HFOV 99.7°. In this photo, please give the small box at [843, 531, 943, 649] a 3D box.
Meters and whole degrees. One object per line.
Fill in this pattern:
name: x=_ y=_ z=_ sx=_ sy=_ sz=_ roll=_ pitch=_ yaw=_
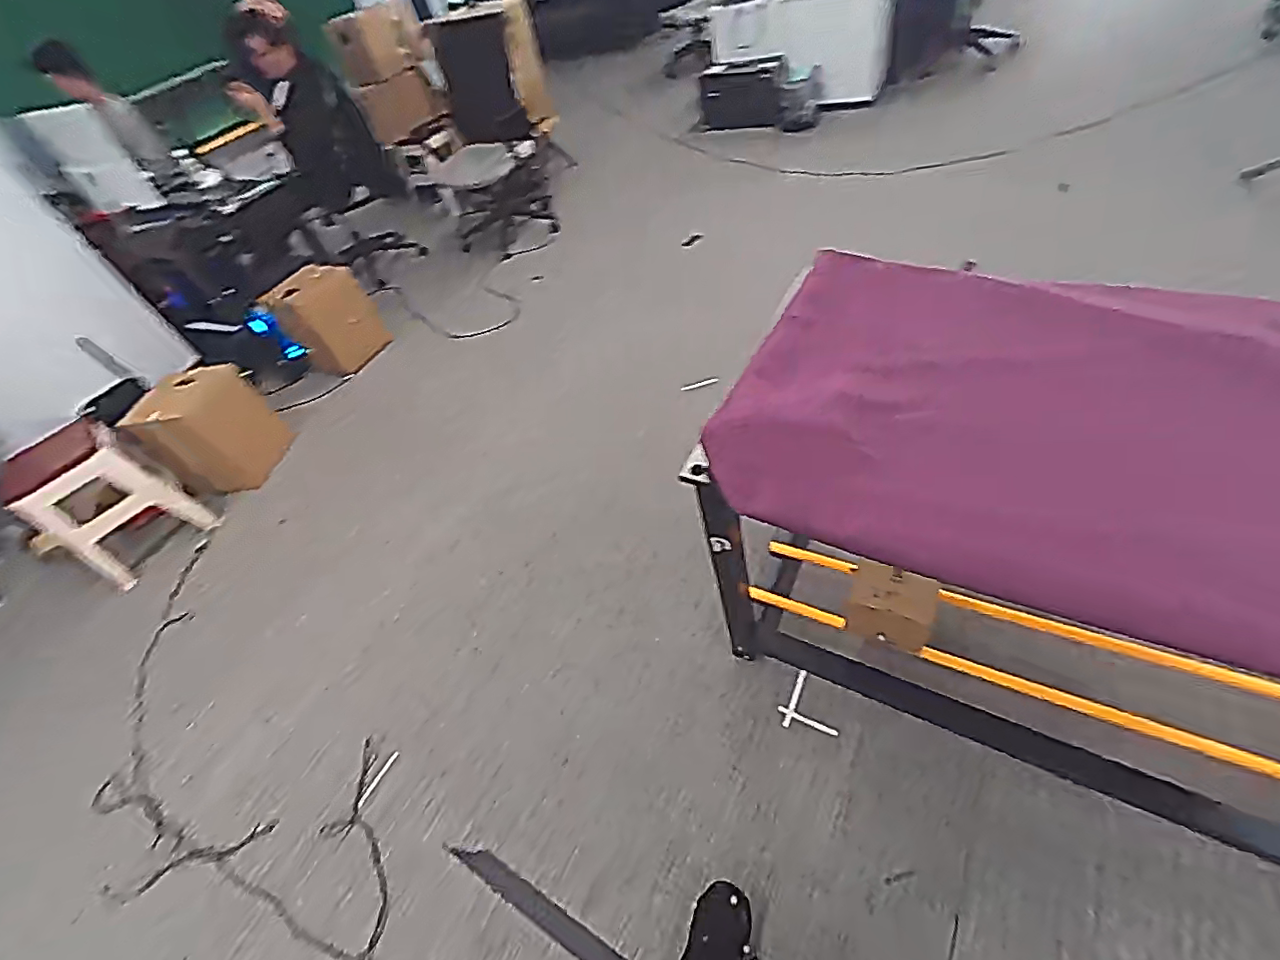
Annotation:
small box: x=0.558 y=0.247 z=1.208 sx=0.168 sy=0.176 sz=0.179 roll=13 pitch=58 yaw=25
